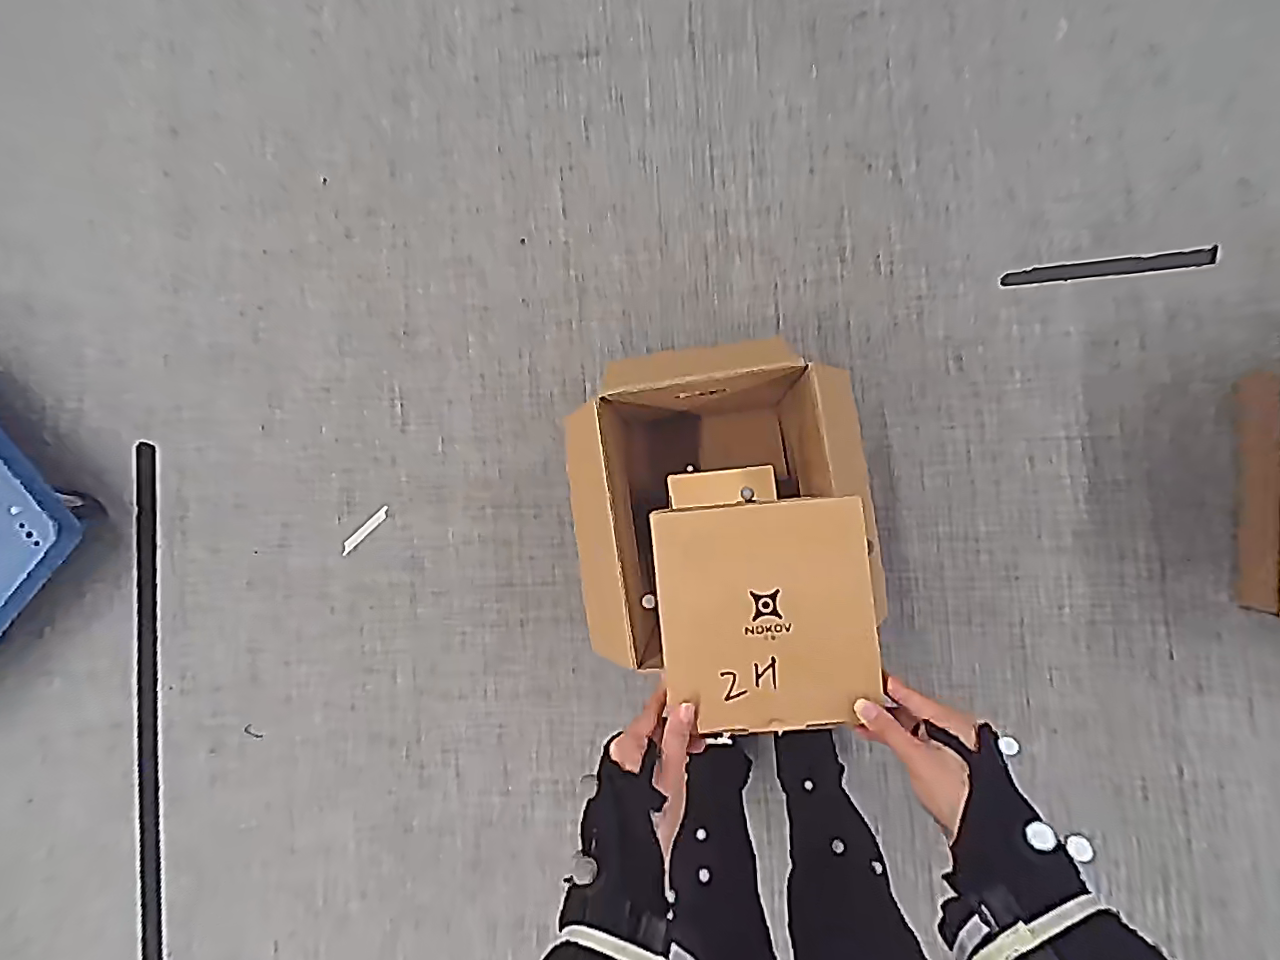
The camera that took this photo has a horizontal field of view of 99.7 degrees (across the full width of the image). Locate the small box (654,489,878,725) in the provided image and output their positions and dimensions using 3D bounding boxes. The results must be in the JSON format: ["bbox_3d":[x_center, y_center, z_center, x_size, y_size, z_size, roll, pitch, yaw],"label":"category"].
[{"bbox_3d":[0.101,0.104,0.503,0.168,0.176,0.179,-5,87,4],"label":"small box"}]
